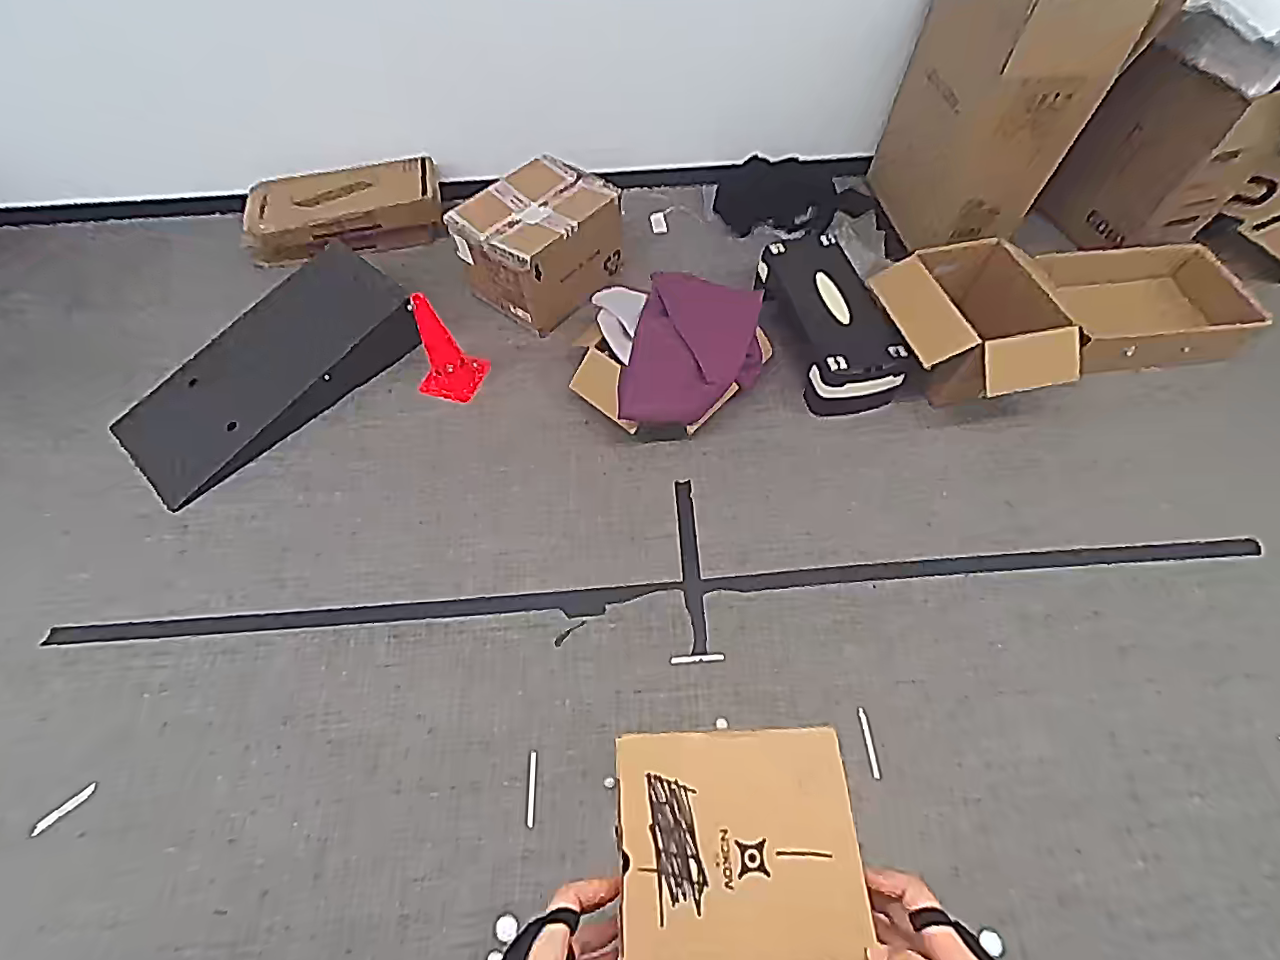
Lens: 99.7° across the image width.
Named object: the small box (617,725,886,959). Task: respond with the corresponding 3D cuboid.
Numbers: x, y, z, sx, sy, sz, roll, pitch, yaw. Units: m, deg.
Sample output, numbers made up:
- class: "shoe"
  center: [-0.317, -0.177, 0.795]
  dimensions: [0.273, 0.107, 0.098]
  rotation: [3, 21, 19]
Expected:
- class: "small box"
  center: [0.072, 0.305, 0.451]
  dimensions: [0.179, 0.176, 0.168]
  rotation: [-1, 61, -2]
